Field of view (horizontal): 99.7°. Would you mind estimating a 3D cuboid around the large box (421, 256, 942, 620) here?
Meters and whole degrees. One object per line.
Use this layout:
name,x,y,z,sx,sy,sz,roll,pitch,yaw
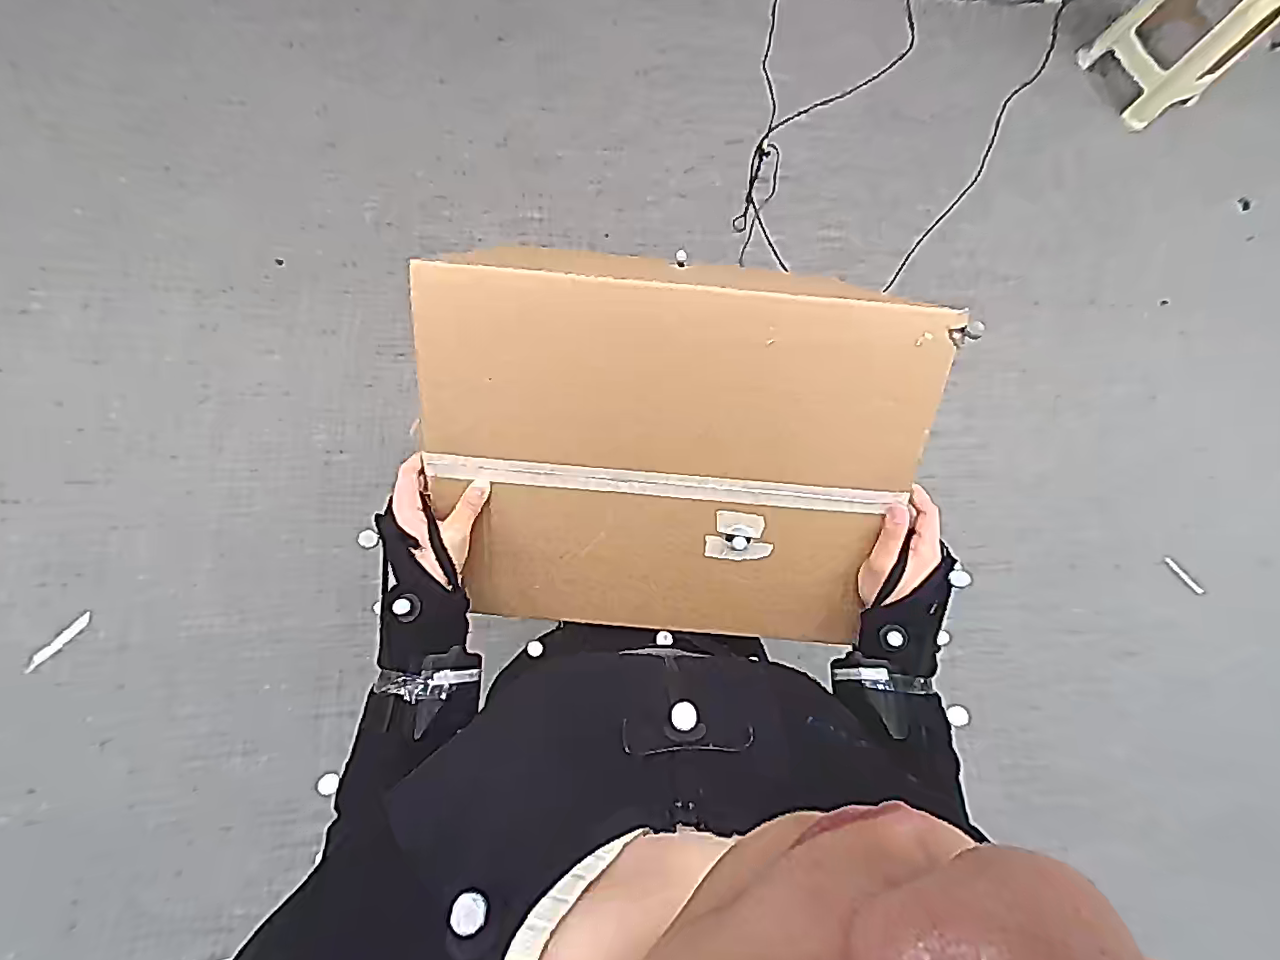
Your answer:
large box,0.024,-0.071,0.603,0.408,0.320,0.320,4,116,-2
